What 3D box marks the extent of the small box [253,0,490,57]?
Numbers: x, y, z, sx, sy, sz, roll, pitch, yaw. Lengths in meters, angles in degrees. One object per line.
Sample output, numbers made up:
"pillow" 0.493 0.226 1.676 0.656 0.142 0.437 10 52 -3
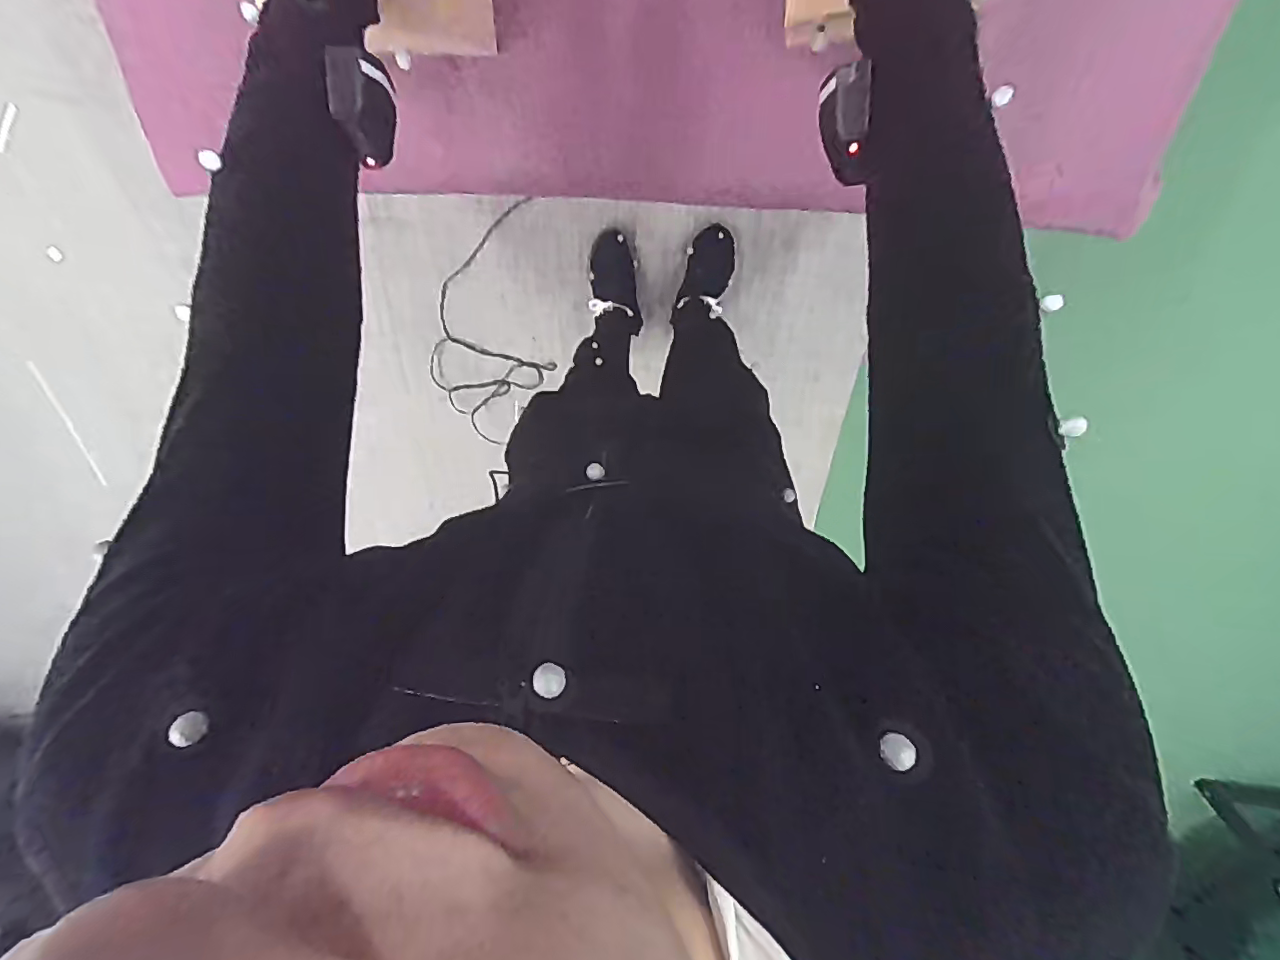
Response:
"small box" -0.247 -0.512 0.497 0.168 0.176 0.179 3 124 2
